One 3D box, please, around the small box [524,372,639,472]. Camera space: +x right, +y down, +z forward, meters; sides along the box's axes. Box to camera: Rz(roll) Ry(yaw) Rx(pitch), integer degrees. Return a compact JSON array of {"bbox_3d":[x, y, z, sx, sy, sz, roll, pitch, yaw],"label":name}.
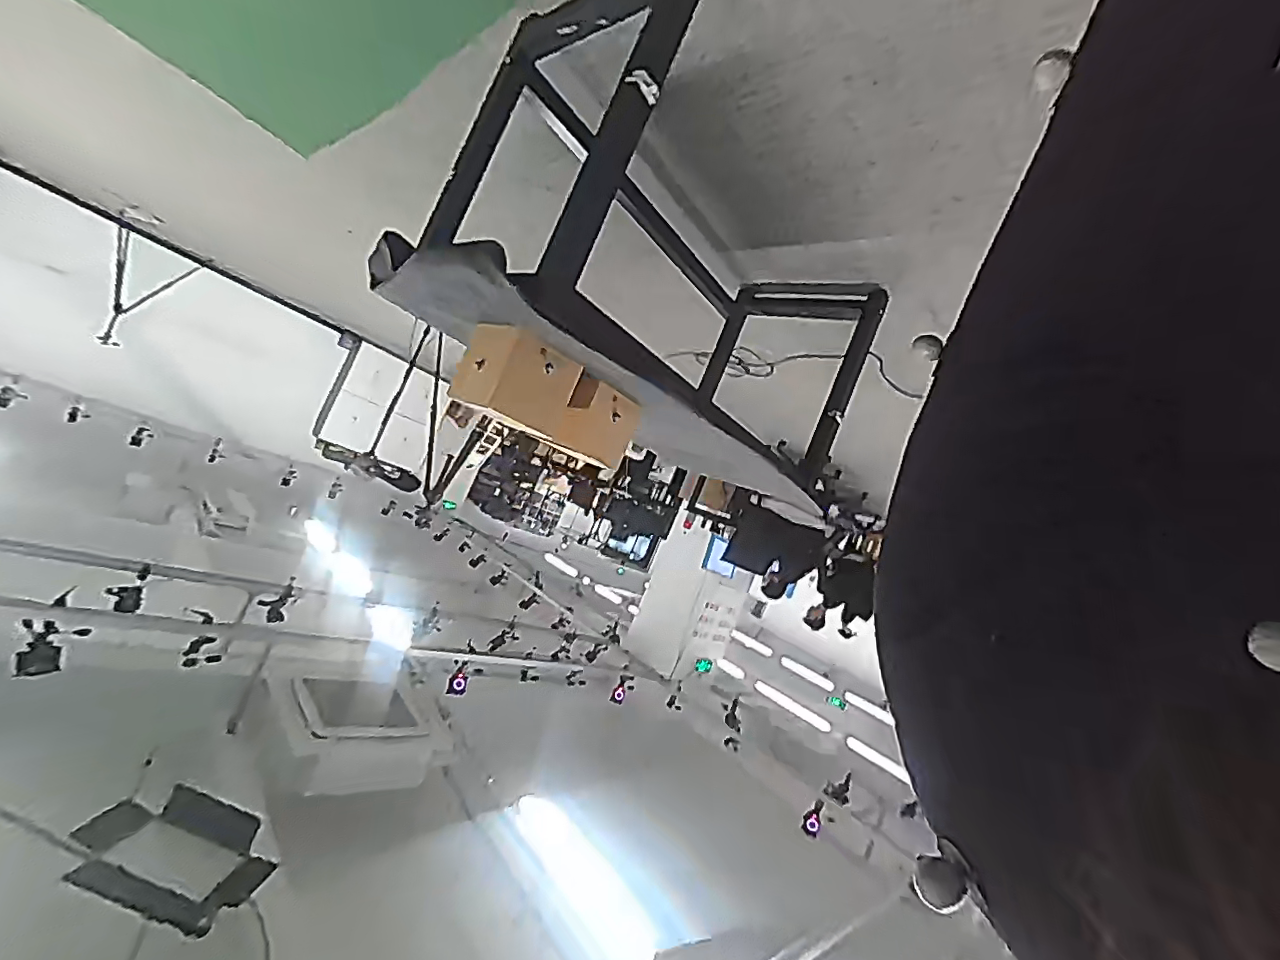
[{"bbox_3d":[-0.134,-0.140,1.276,0.179,0.176,0.168,20,175,39],"label":"small box"}]
